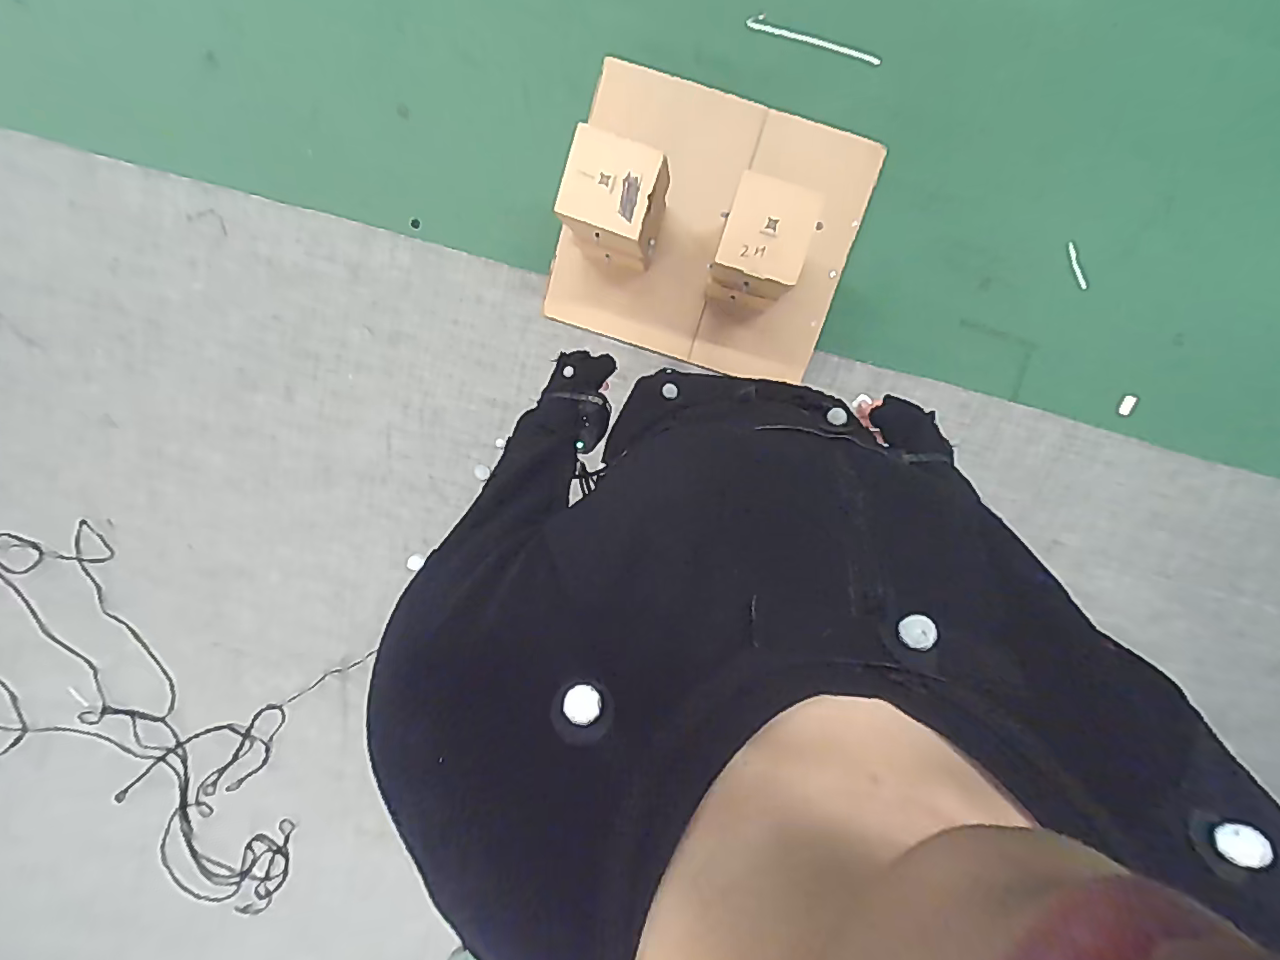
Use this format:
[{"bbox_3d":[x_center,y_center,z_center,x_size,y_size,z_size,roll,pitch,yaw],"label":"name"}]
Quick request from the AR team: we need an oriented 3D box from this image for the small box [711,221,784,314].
[{"bbox_3d":[0.266,-0.501,1.261,0.168,0.176,0.179,16,103,1],"label":"small box"}]

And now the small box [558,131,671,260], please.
[{"bbox_3d":[-0.043,-0.565,1.100,0.179,0.176,0.168,21,102,2],"label":"small box"}]

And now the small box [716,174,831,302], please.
[{"bbox_3d":[0.258,-0.478,1.096,0.168,0.176,0.179,18,102,1],"label":"small box"}]
